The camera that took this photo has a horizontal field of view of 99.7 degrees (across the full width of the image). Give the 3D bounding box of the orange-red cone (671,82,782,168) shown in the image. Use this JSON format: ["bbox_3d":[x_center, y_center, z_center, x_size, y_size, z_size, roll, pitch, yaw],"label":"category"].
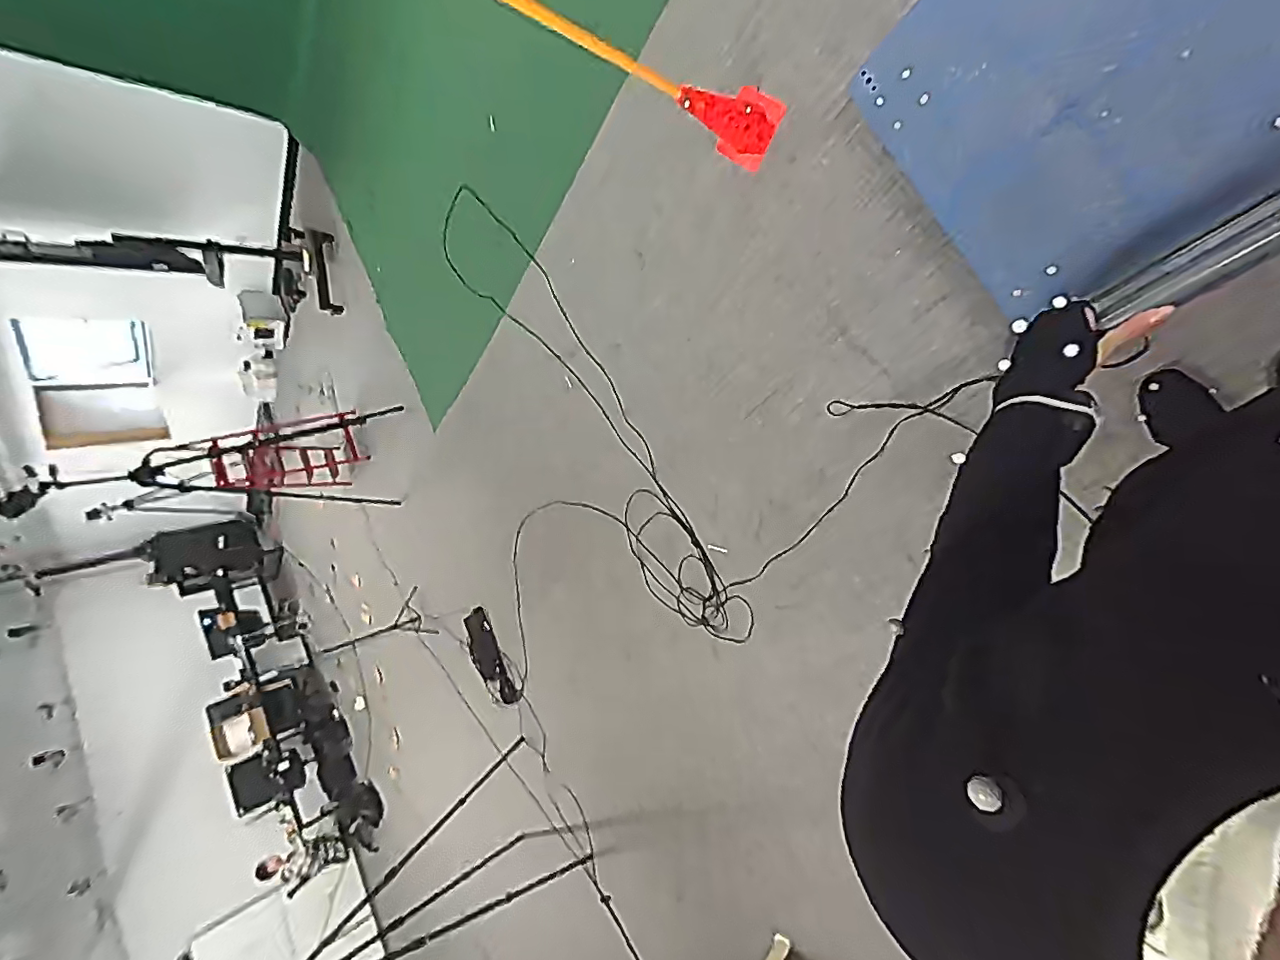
[{"bbox_3d":[0.223,-1.102,1.611,0.198,0.360,0.199,50,131,25],"label":"orange-red cone"}]
